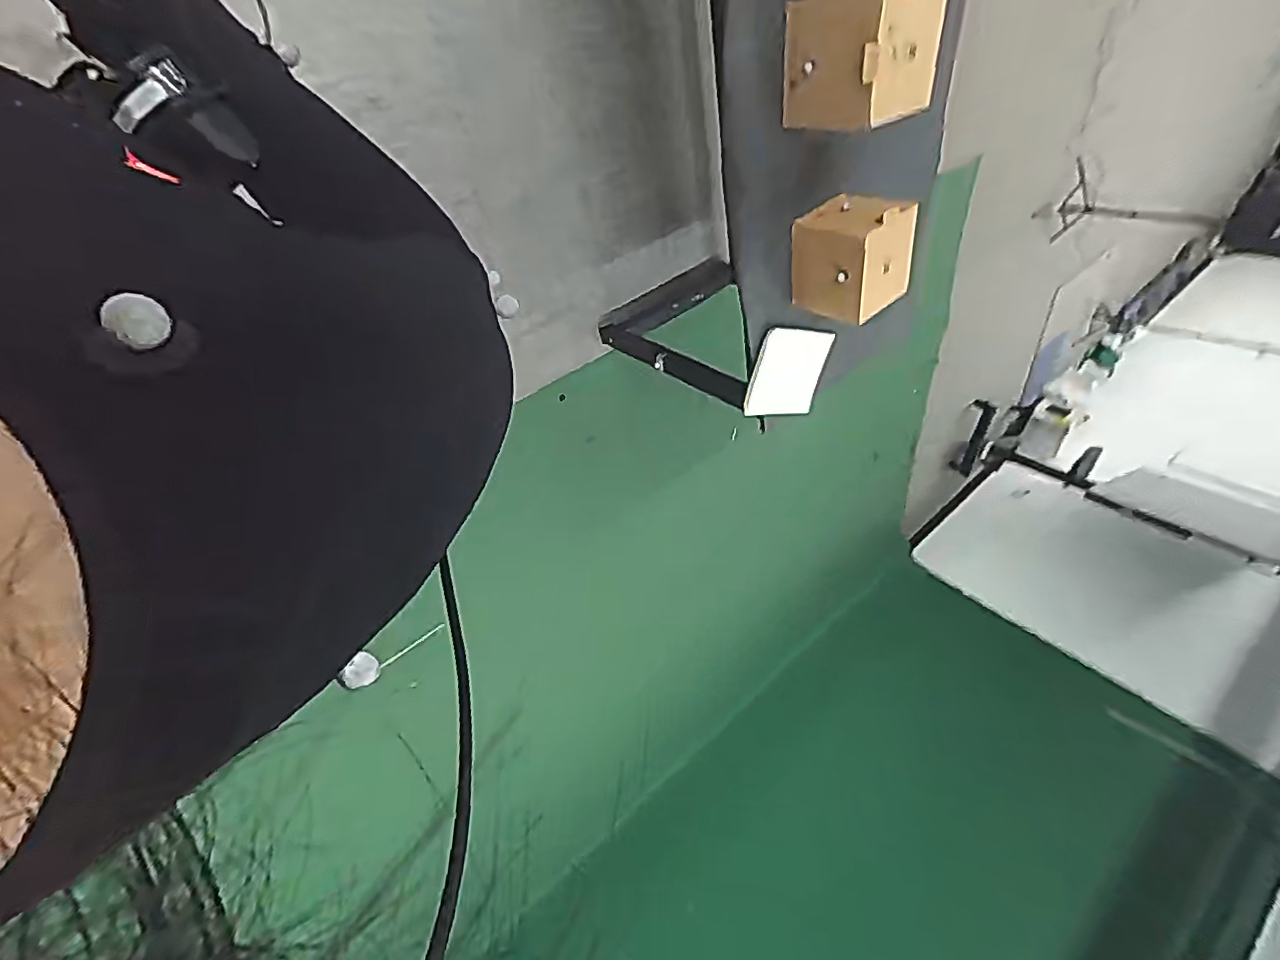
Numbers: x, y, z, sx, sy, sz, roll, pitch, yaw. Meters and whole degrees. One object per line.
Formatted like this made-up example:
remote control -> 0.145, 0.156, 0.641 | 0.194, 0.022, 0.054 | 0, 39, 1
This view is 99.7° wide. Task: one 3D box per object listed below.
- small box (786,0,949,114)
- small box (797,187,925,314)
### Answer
small box -> 0.354, -0.692, 0.851 | 0.179, 0.176, 0.168 | -32, 133, -23
small box -> 0.429, -0.460, 1.074 | 0.168, 0.176, 0.179 | -35, 134, -21
